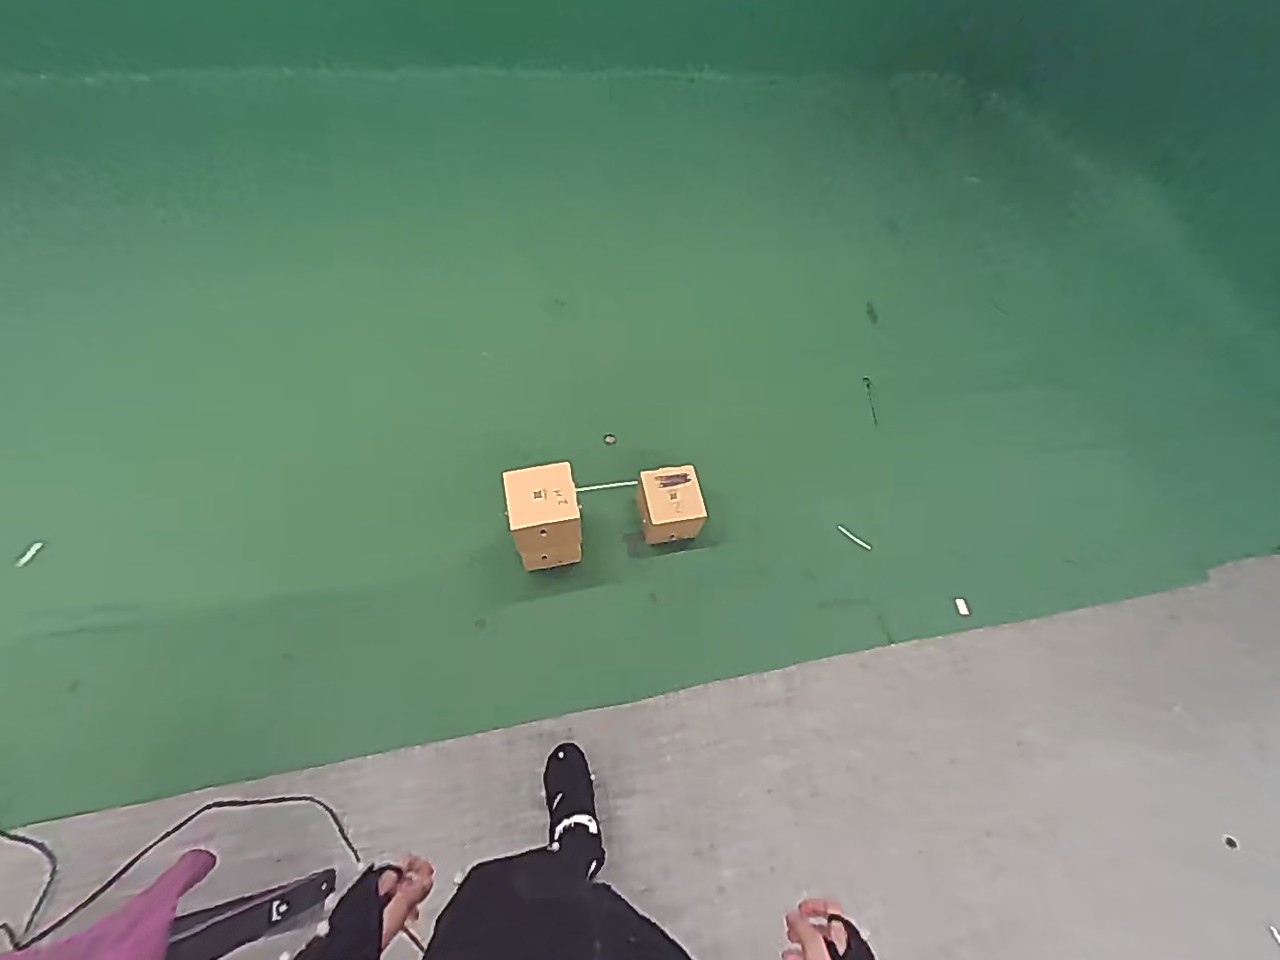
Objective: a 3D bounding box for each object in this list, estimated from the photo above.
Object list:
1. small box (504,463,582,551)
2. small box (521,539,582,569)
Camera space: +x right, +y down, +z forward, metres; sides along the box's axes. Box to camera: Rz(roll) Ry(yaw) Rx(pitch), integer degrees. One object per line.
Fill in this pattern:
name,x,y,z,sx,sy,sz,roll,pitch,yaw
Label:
small box,-0.253,0.076,1.431,0.179,0.176,0.168,-10,64,-10
small box,-0.264,0.148,1.578,0.168,0.176,0.179,-10,63,-10
